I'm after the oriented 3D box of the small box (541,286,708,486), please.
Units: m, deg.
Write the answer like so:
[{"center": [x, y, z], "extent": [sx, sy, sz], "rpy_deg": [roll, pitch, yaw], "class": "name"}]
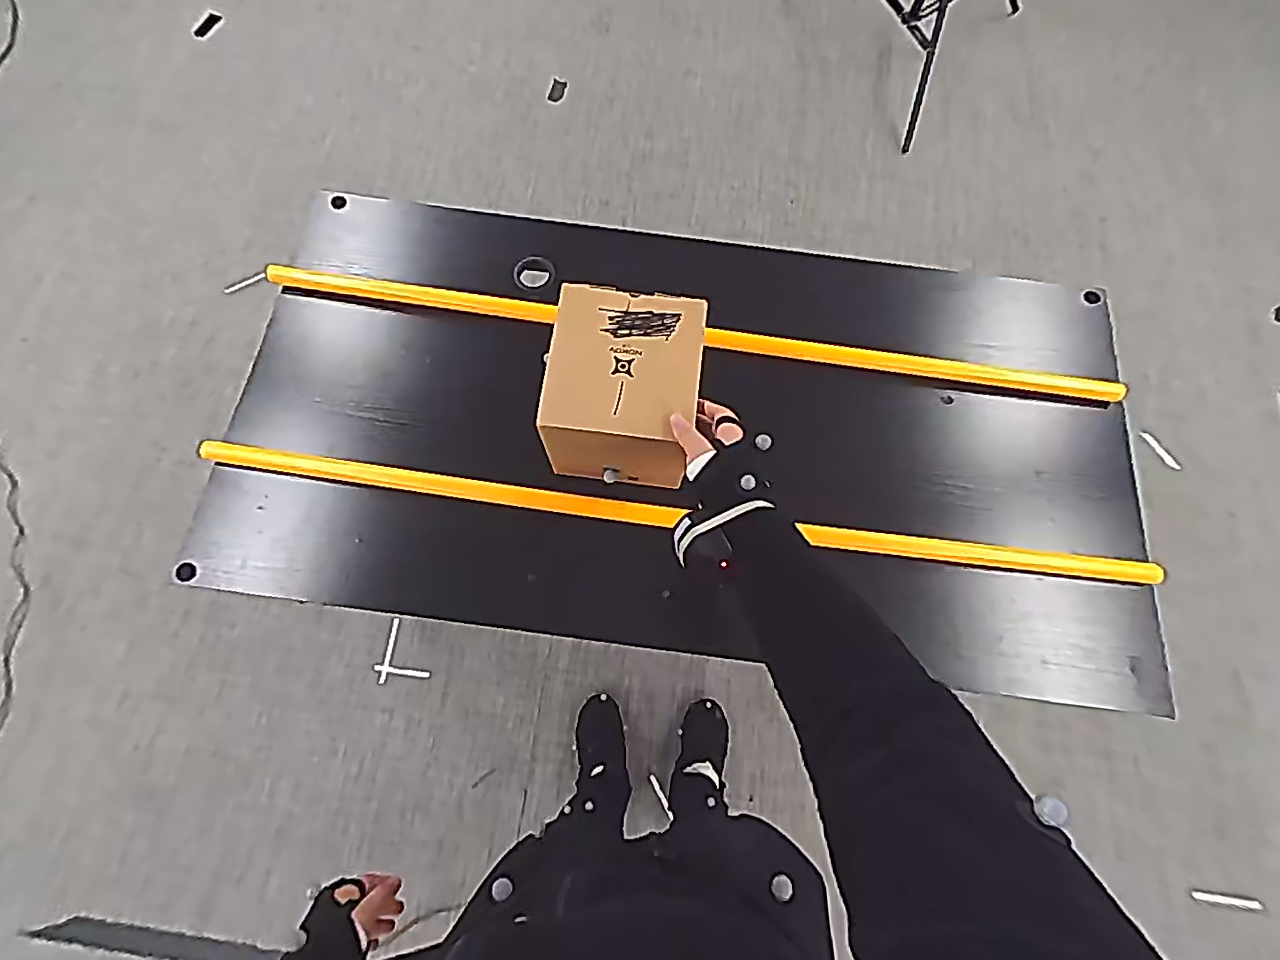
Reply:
[{"center": [-0.016, -0.106, 0.664], "extent": [0.168, 0.176, 0.179], "rpy_deg": [7, 73, 1], "class": "small box"}]
